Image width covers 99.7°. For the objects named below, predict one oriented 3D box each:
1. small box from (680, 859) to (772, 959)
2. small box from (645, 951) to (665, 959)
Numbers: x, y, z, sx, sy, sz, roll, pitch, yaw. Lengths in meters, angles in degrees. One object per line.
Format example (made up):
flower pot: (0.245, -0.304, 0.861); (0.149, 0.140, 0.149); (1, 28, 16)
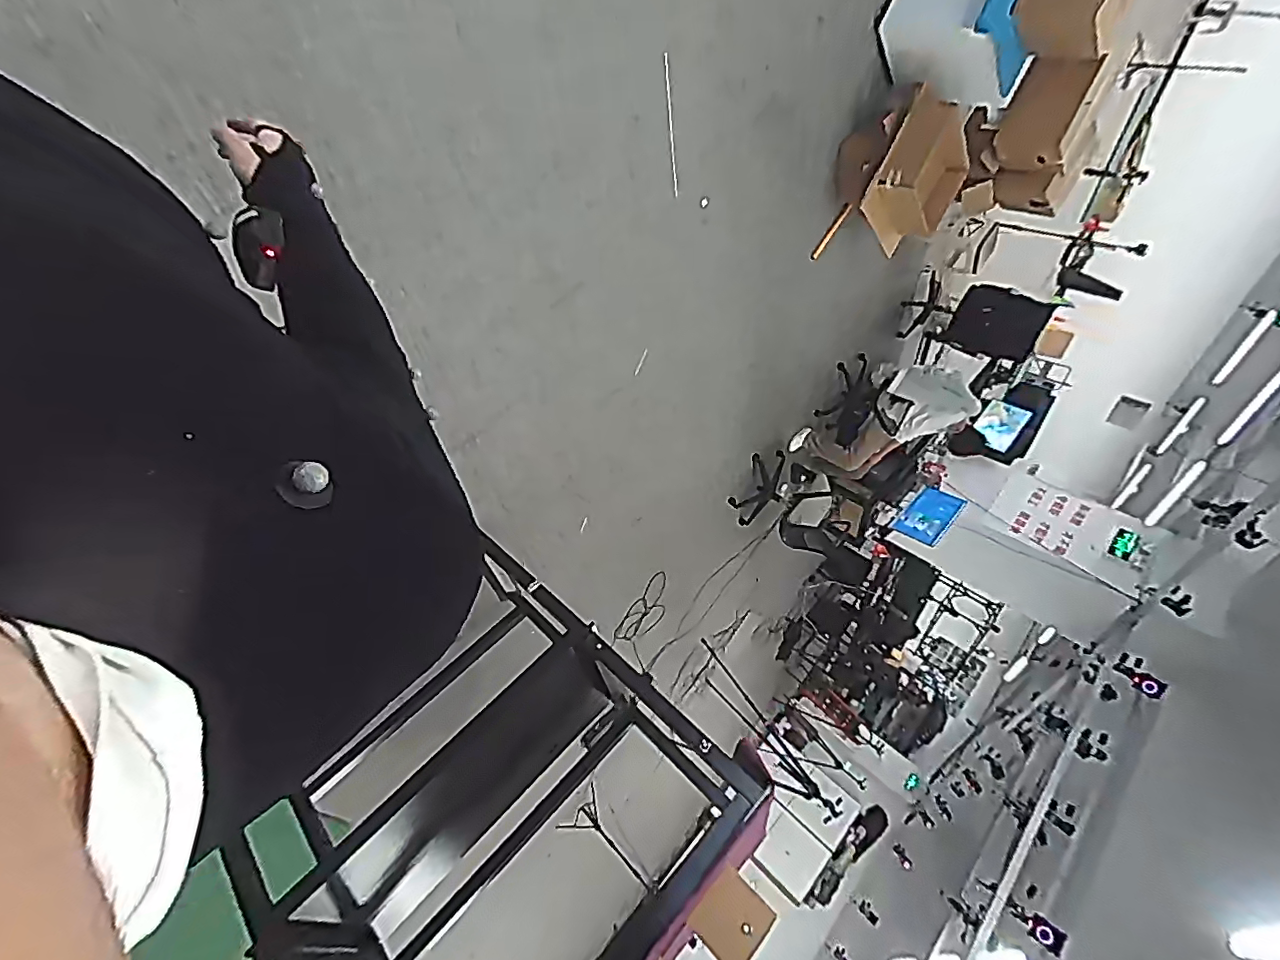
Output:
small box: (0.228, 1.149, 1.431); (0.179, 0.176, 0.168); (-41, 144, -22)
small box: (0.038, 1.299, 1.316); (0.179, 0.176, 0.168); (-39, 144, -24)
